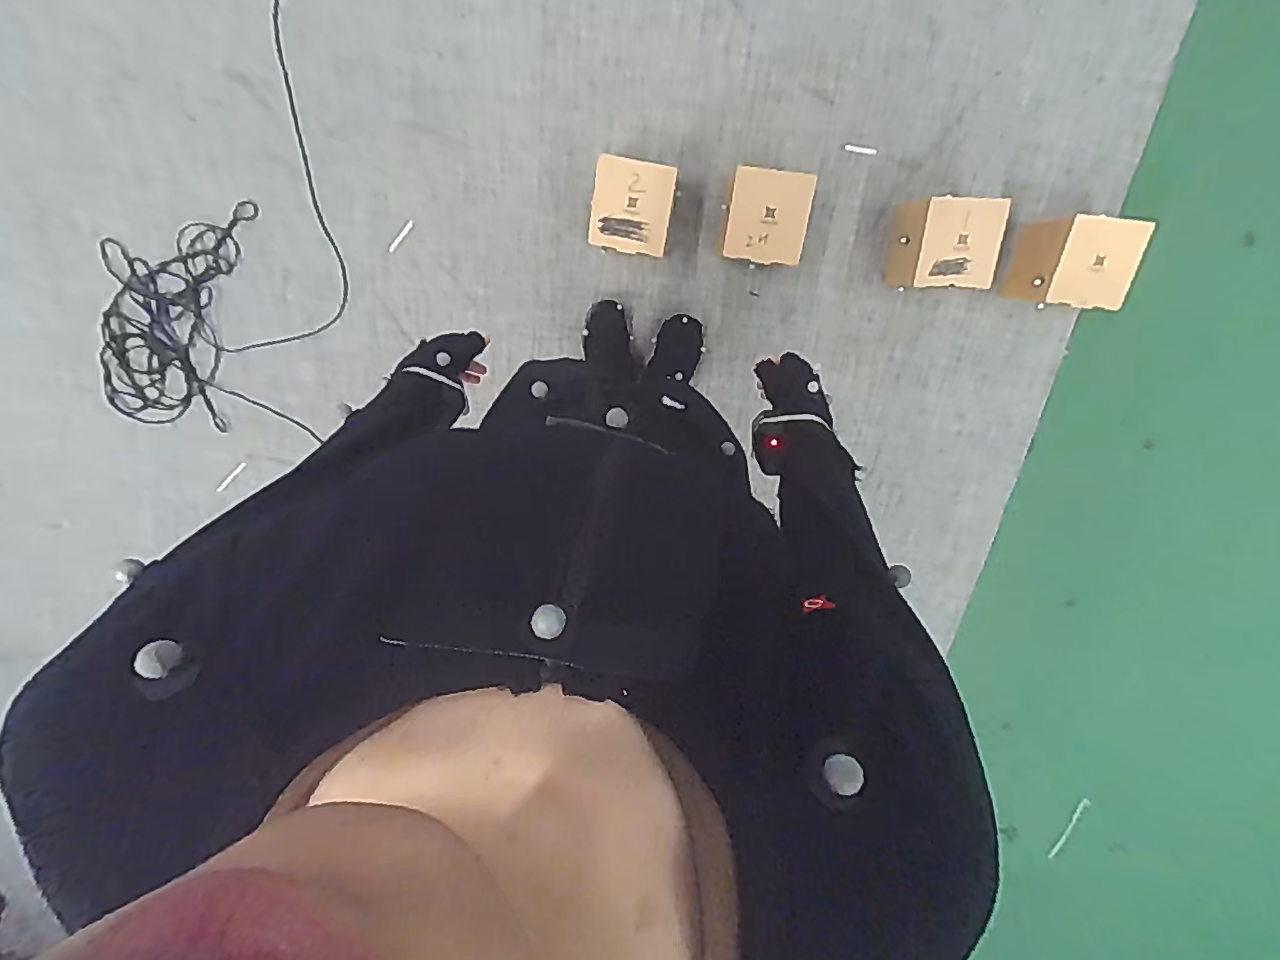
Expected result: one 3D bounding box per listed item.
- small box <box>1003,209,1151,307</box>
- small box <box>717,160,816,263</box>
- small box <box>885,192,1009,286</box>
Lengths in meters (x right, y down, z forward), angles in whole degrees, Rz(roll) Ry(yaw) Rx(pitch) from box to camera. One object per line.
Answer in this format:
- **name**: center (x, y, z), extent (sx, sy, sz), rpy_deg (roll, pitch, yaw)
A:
- **small box**: center (0.957, -0.491, 1.205), extent (0.168, 0.176, 0.179), rpy_deg (6, 112, 0)
- **small box**: center (0.268, -0.582, 1.191), extent (0.168, 0.176, 0.179), rpy_deg (8, 112, 0)
- **small box**: center (0.667, -0.528, 1.200), extent (0.168, 0.176, 0.179), rpy_deg (2, 111, 1)
